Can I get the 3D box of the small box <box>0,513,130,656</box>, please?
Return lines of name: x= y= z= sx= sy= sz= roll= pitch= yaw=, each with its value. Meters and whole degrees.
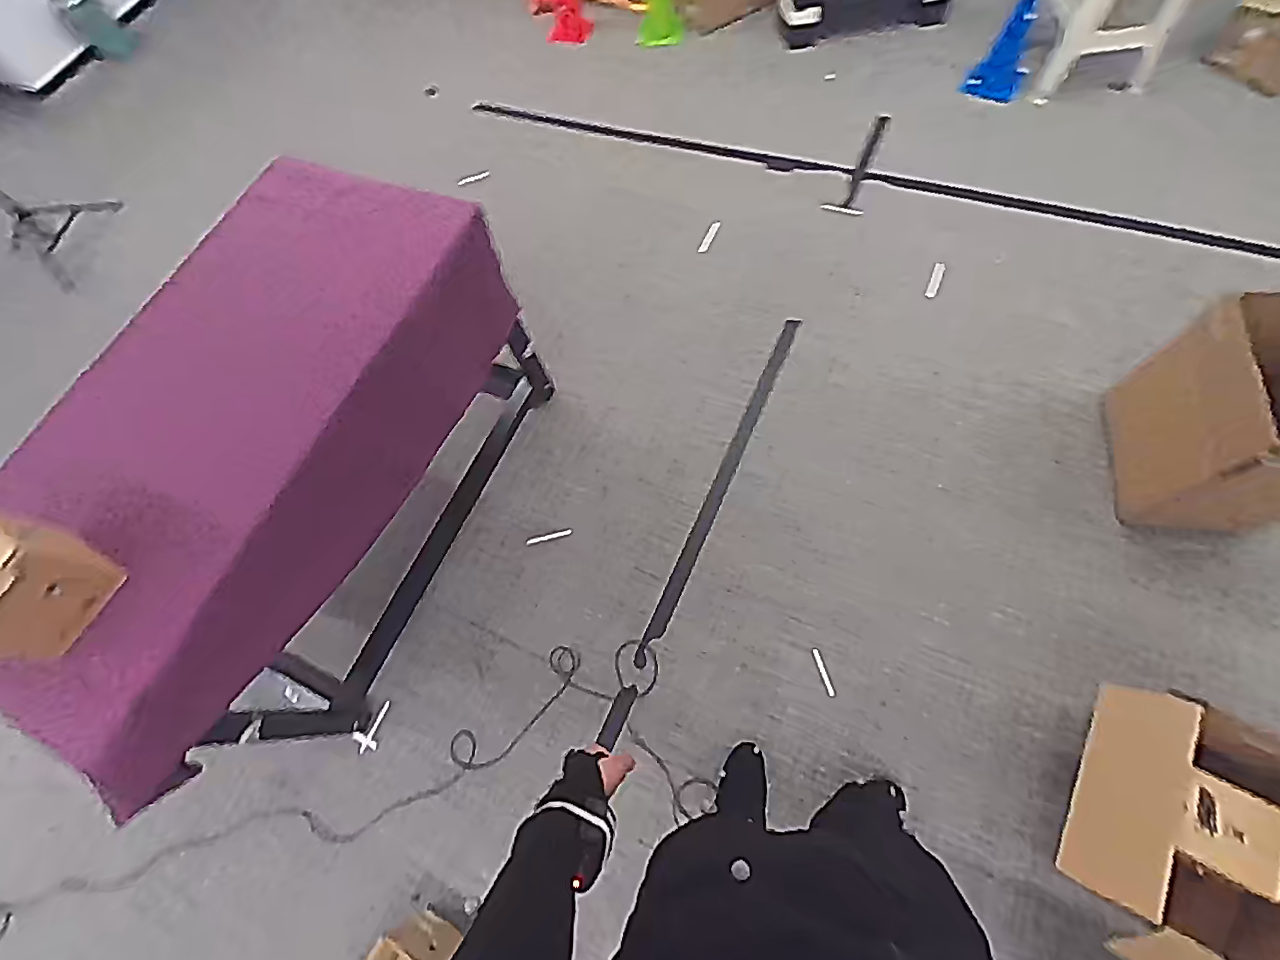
small box: x=-0.999 y=0.168 z=0.870 sx=0.179 sy=0.176 sz=0.168 roll=25 pitch=72 yaw=17
